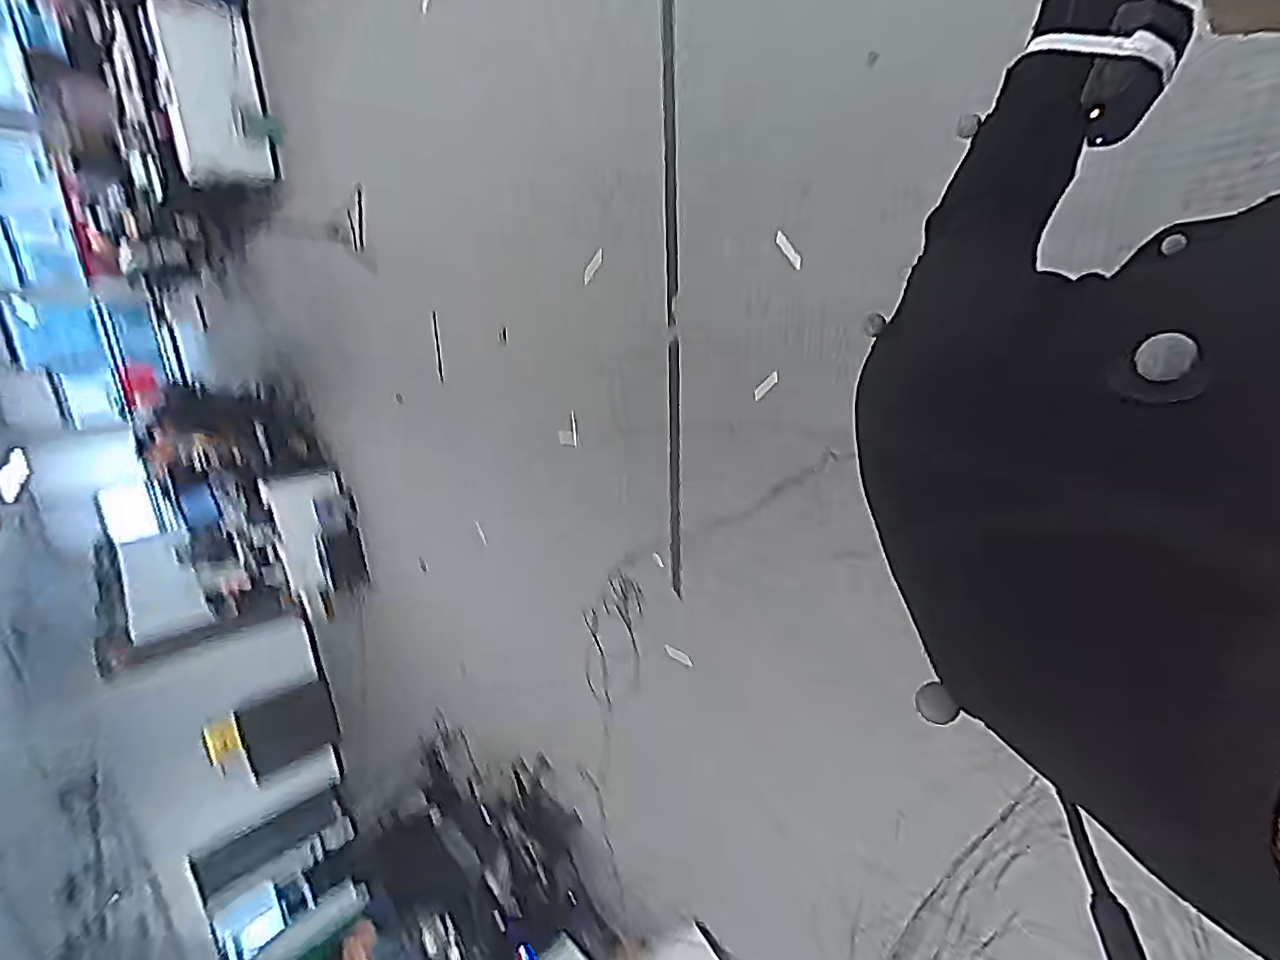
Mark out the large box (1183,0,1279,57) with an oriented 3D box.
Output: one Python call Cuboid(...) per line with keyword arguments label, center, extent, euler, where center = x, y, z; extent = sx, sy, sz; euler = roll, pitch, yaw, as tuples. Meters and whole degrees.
Cuboid(label="large box", center=(0.600, -0.443, 0.262), extent=(0.408, 0.320, 0.320), euler=(26, 129, 37))
